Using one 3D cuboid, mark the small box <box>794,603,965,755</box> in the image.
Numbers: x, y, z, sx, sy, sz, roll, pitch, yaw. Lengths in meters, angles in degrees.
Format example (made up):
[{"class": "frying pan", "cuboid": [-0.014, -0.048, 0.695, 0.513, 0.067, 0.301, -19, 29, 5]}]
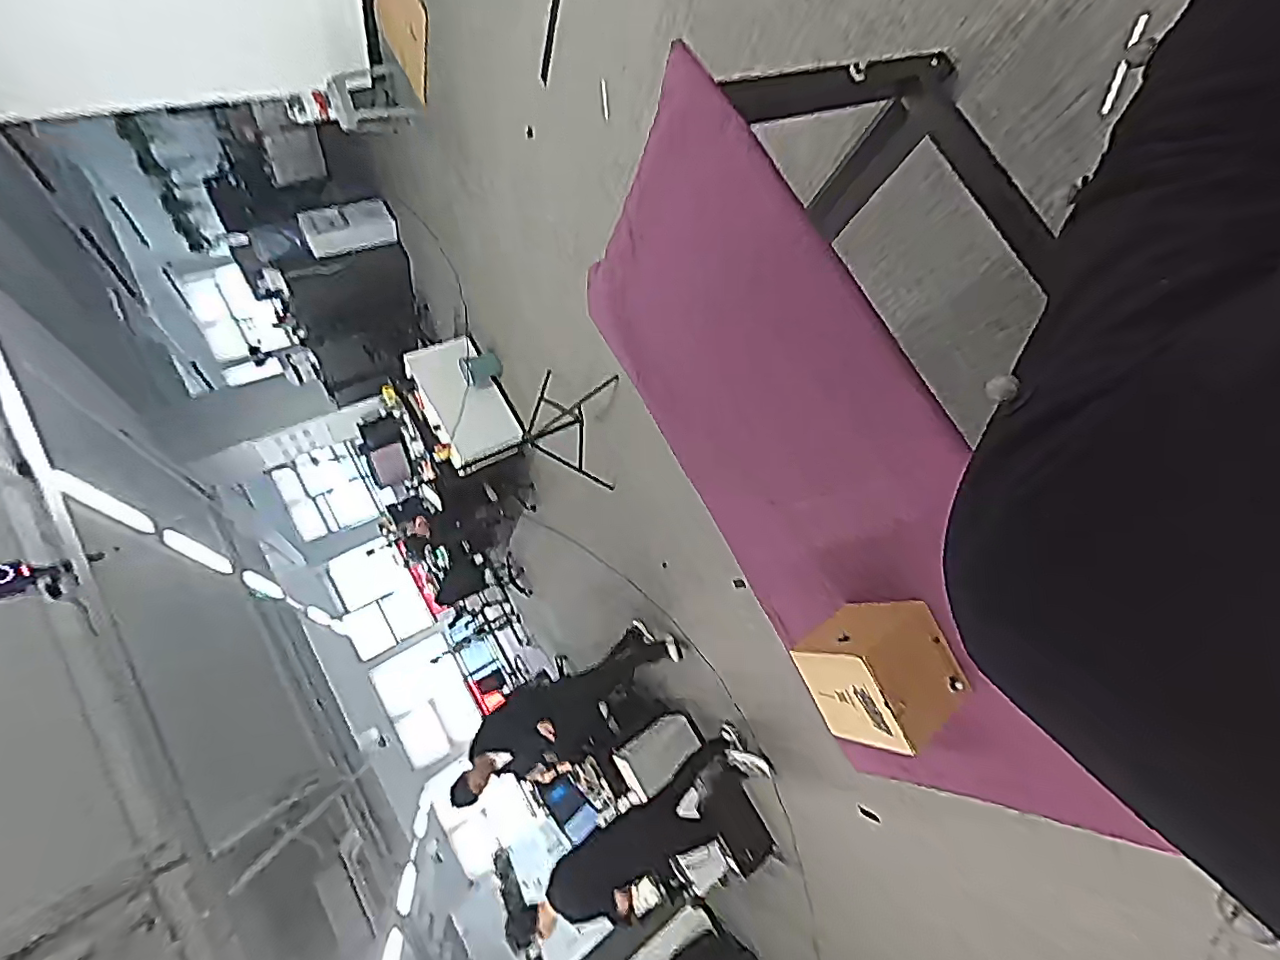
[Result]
[{"class": "small box", "cuboid": [0.402, 0.317, 0.900, 0.168, 0.176, 0.179, 63, 154, 3]}]
